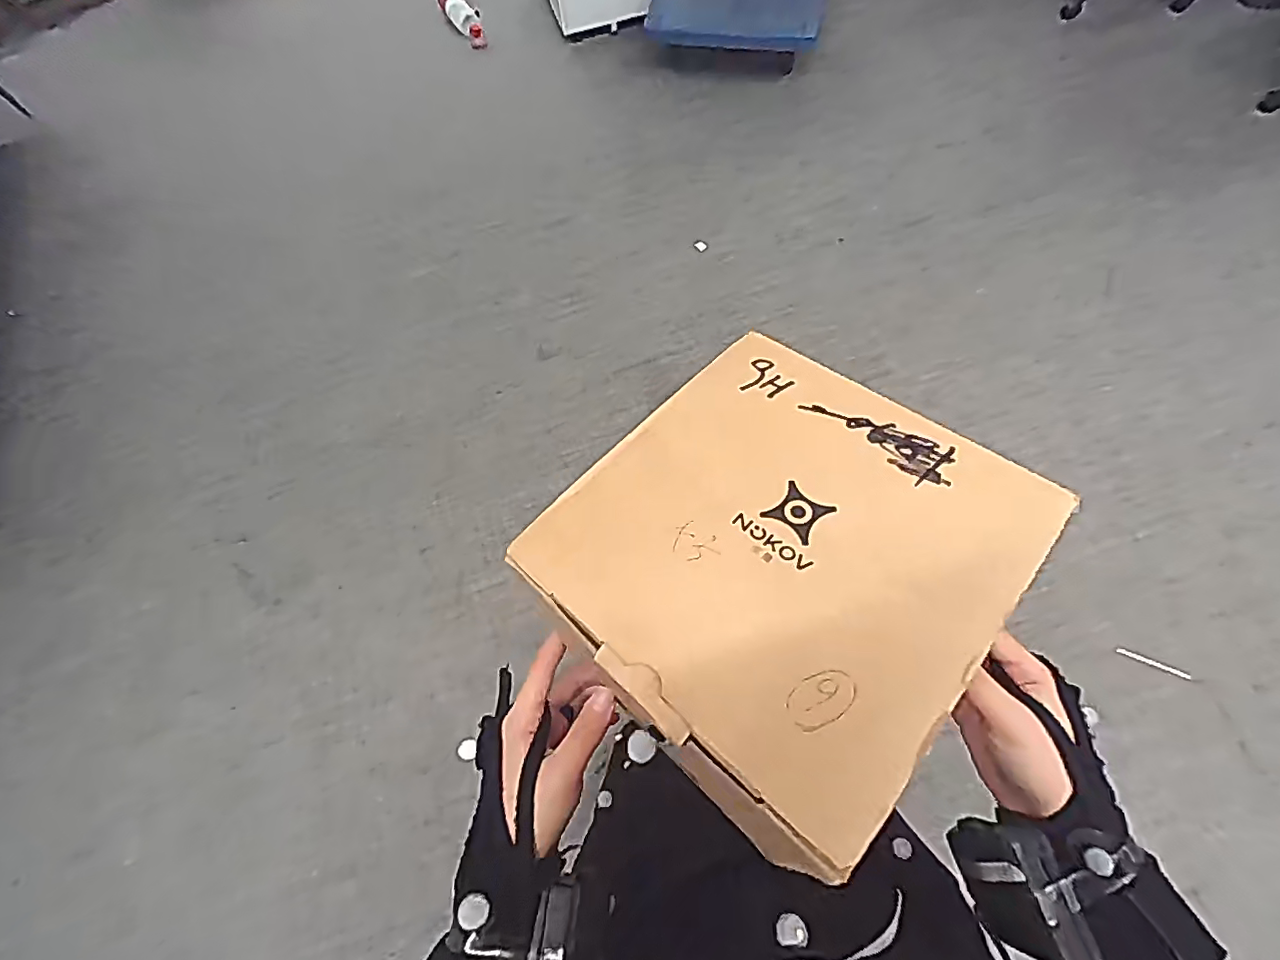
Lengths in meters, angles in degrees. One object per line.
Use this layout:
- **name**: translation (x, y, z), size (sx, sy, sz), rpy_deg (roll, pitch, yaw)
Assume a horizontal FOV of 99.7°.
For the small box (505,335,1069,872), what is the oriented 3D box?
- **small box**: translation (0.066, 0.064, 0.290), size (0.168, 0.176, 0.179), rpy_deg (37, 69, 27)
